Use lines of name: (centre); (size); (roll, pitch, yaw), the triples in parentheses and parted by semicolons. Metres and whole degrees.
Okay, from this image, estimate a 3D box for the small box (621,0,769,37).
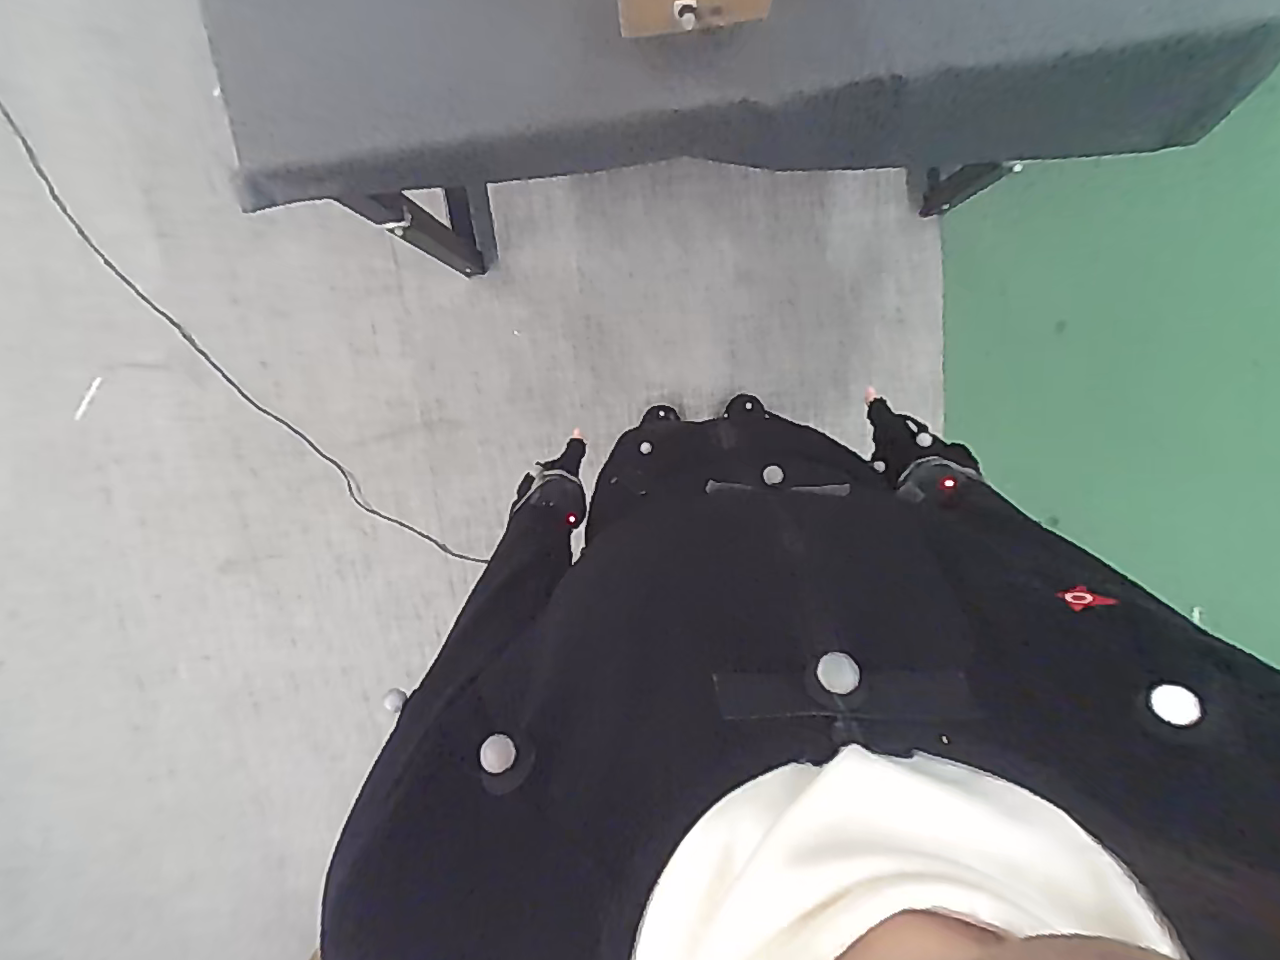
small box: (0.049, -0.582, 0.517); (0.168, 0.176, 0.179); (-8, 100, 4)
